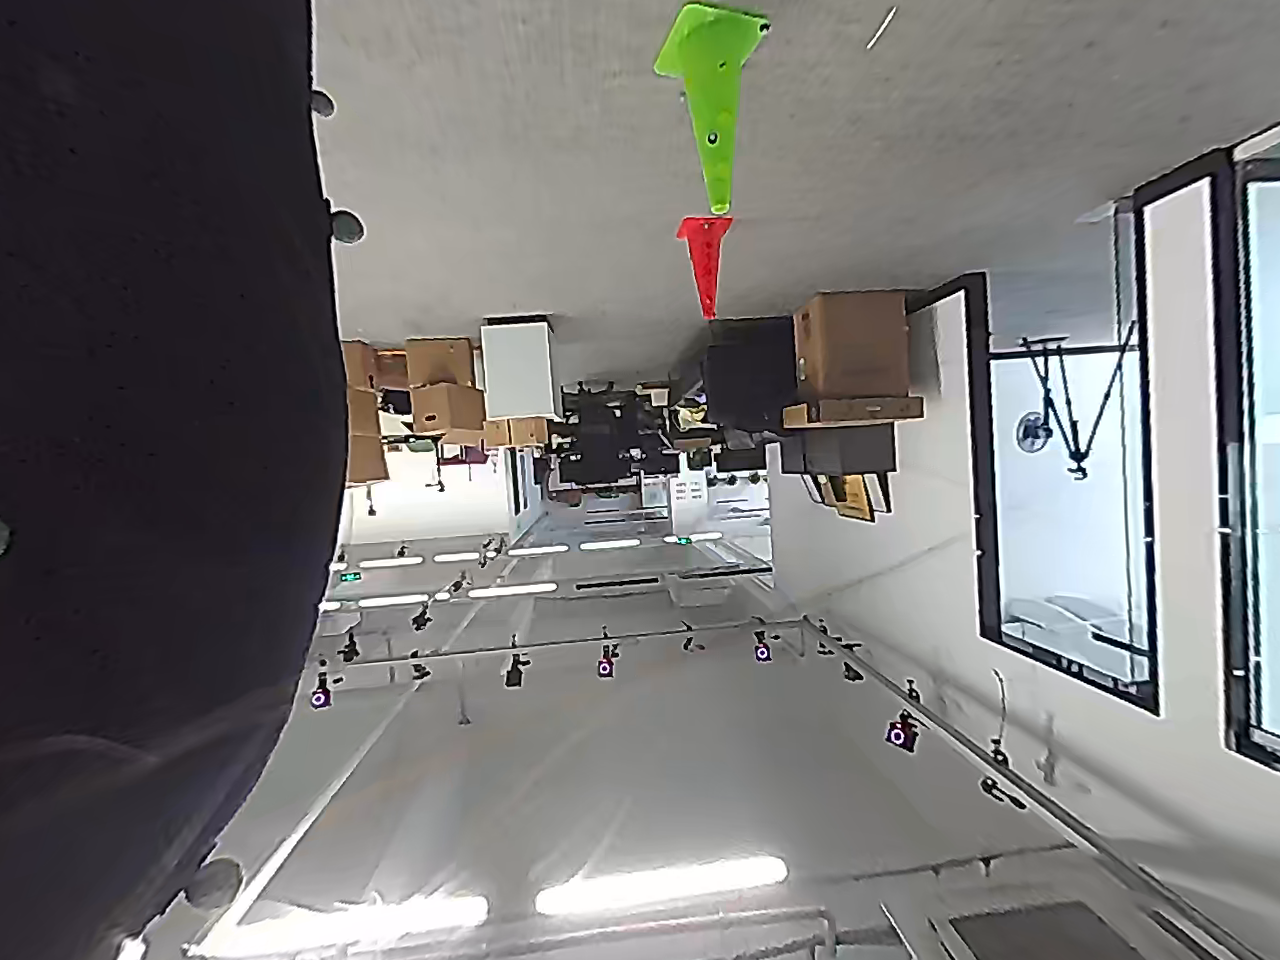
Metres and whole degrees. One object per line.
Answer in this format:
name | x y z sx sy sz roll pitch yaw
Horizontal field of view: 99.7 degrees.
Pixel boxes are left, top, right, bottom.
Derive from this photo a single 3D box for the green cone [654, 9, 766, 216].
green cone | 0.161 -0.782 1.203 0.200 0.368 0.202 -5 -178 -17
